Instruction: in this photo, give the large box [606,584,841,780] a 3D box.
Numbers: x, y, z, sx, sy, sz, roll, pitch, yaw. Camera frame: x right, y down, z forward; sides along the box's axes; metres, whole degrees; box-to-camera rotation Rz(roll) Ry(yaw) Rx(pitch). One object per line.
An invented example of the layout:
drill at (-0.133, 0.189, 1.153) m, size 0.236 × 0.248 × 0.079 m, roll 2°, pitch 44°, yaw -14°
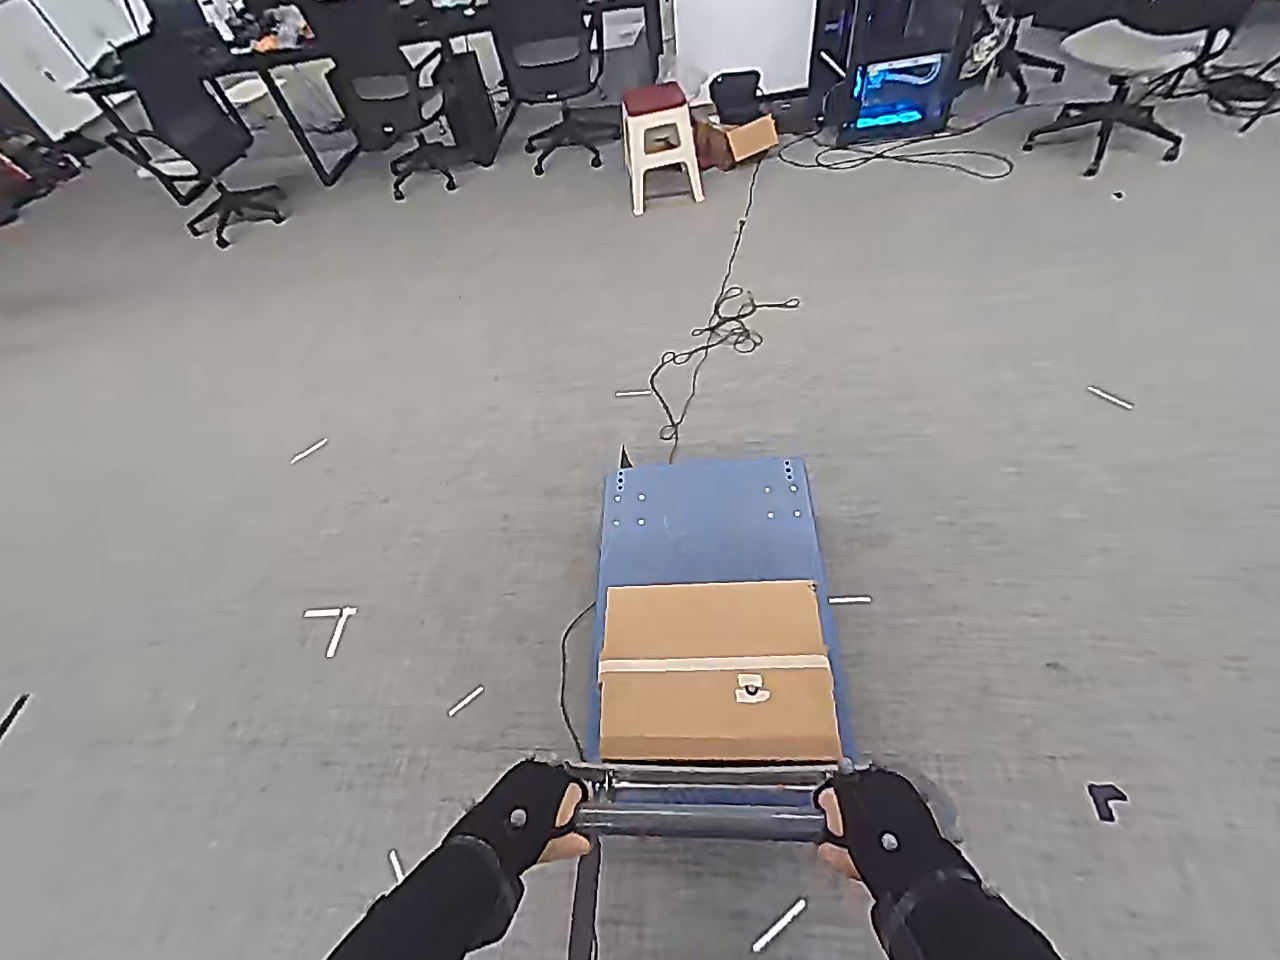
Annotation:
large box at (0.154, 0.427, 1.116) m, size 0.408 × 0.320 × 0.320 m, roll -4°, pitch 57°, yaw 6°
